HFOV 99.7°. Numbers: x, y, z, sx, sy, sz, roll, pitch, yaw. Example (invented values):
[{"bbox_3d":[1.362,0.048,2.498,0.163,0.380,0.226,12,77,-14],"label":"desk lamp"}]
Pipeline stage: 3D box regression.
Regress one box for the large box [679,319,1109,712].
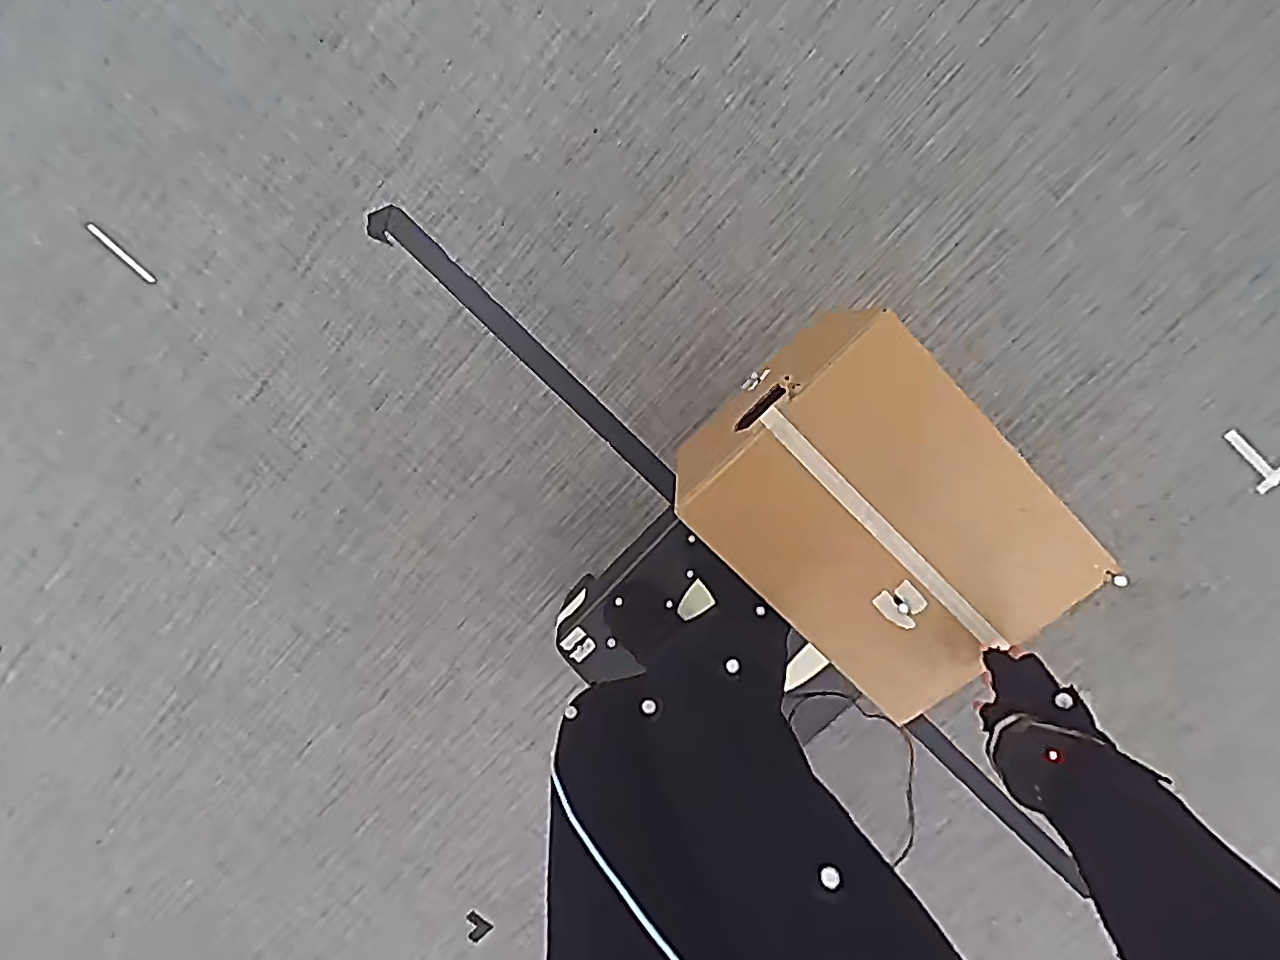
[{"bbox_3d":[0.300,0.023,0.770,0.408,0.320,0.320,43,106,-8],"label":"large box"}]
